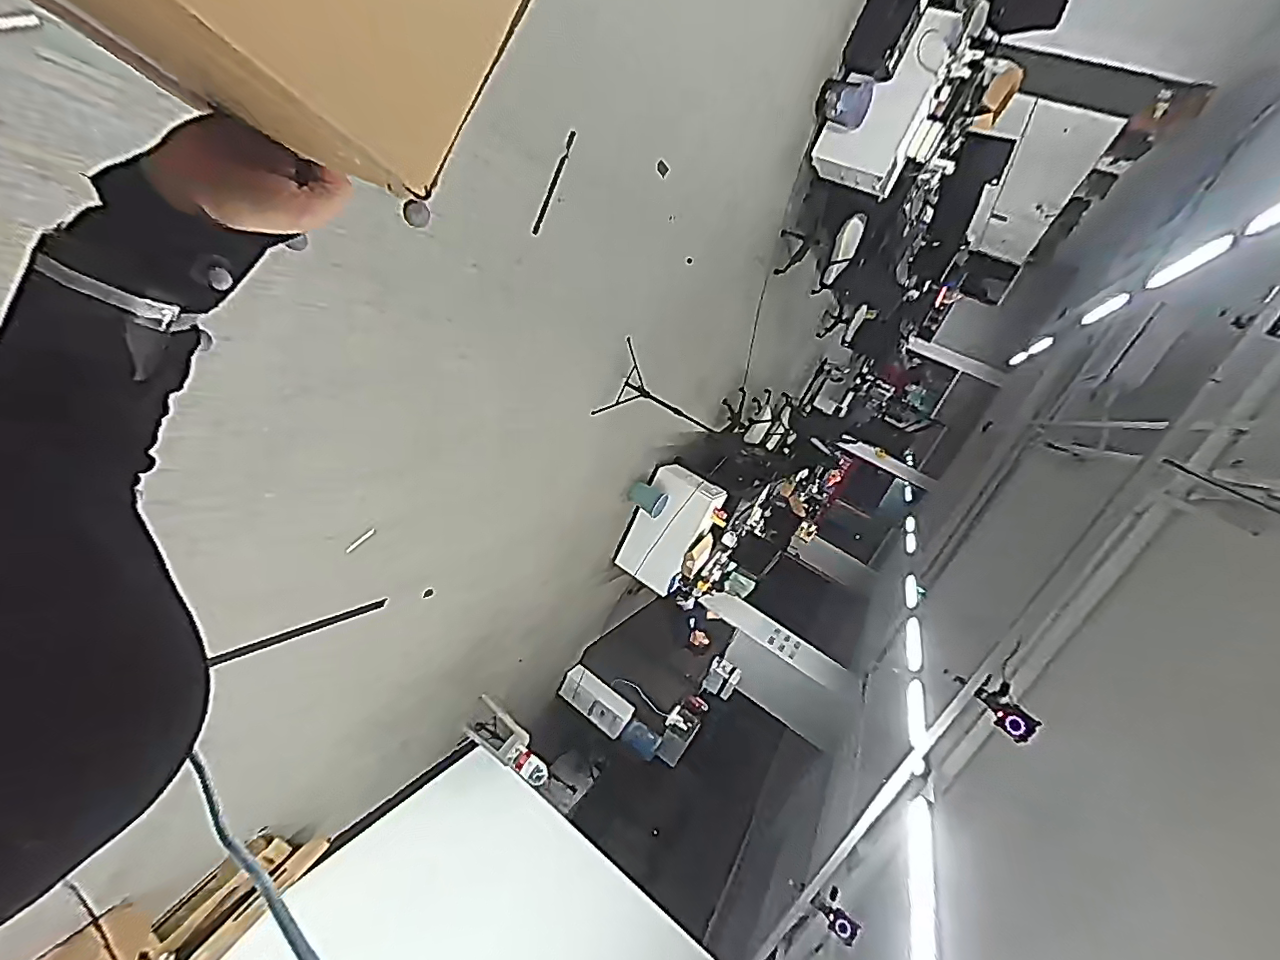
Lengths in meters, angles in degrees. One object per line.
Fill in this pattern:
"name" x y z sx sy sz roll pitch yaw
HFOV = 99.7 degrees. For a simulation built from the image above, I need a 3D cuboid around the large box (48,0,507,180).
"large box" -0.228 -0.366 0.124 0.320 0.320 0.408 -59 153 7
